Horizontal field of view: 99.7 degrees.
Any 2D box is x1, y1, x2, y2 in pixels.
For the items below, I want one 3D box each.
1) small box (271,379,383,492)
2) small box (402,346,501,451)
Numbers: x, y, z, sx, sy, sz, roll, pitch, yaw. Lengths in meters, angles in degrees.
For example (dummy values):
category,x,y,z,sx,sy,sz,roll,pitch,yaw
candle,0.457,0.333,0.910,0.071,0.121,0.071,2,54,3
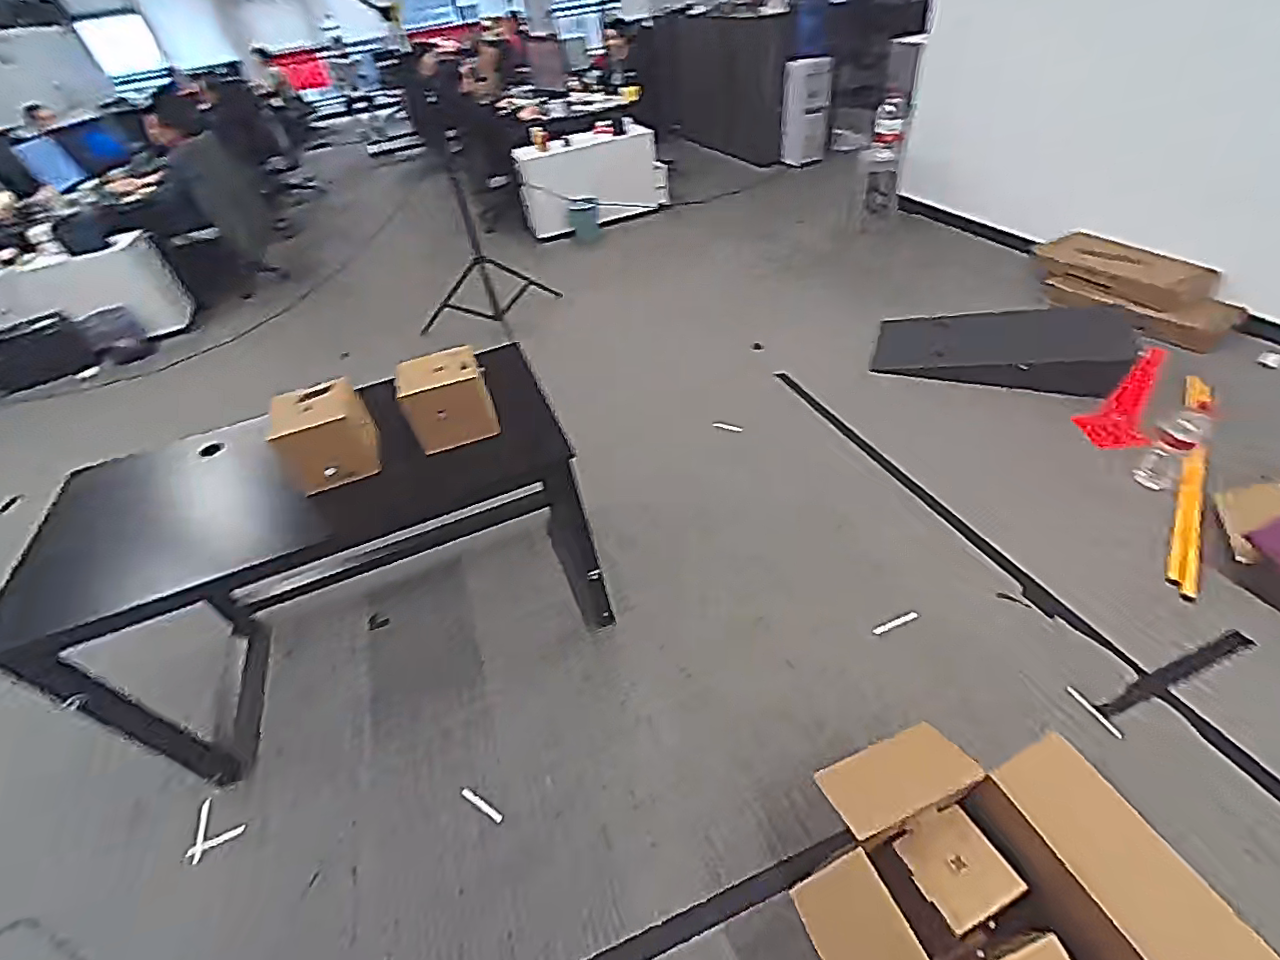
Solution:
category,x,y,z,sx,sy,sz,roll,pitch,yaw
small box,-0.716,-0.103,1.258,0.168,0.176,0.179,-20,44,-11
small box,-0.455,-0.194,1.310,0.179,0.176,0.168,-18,43,-9
